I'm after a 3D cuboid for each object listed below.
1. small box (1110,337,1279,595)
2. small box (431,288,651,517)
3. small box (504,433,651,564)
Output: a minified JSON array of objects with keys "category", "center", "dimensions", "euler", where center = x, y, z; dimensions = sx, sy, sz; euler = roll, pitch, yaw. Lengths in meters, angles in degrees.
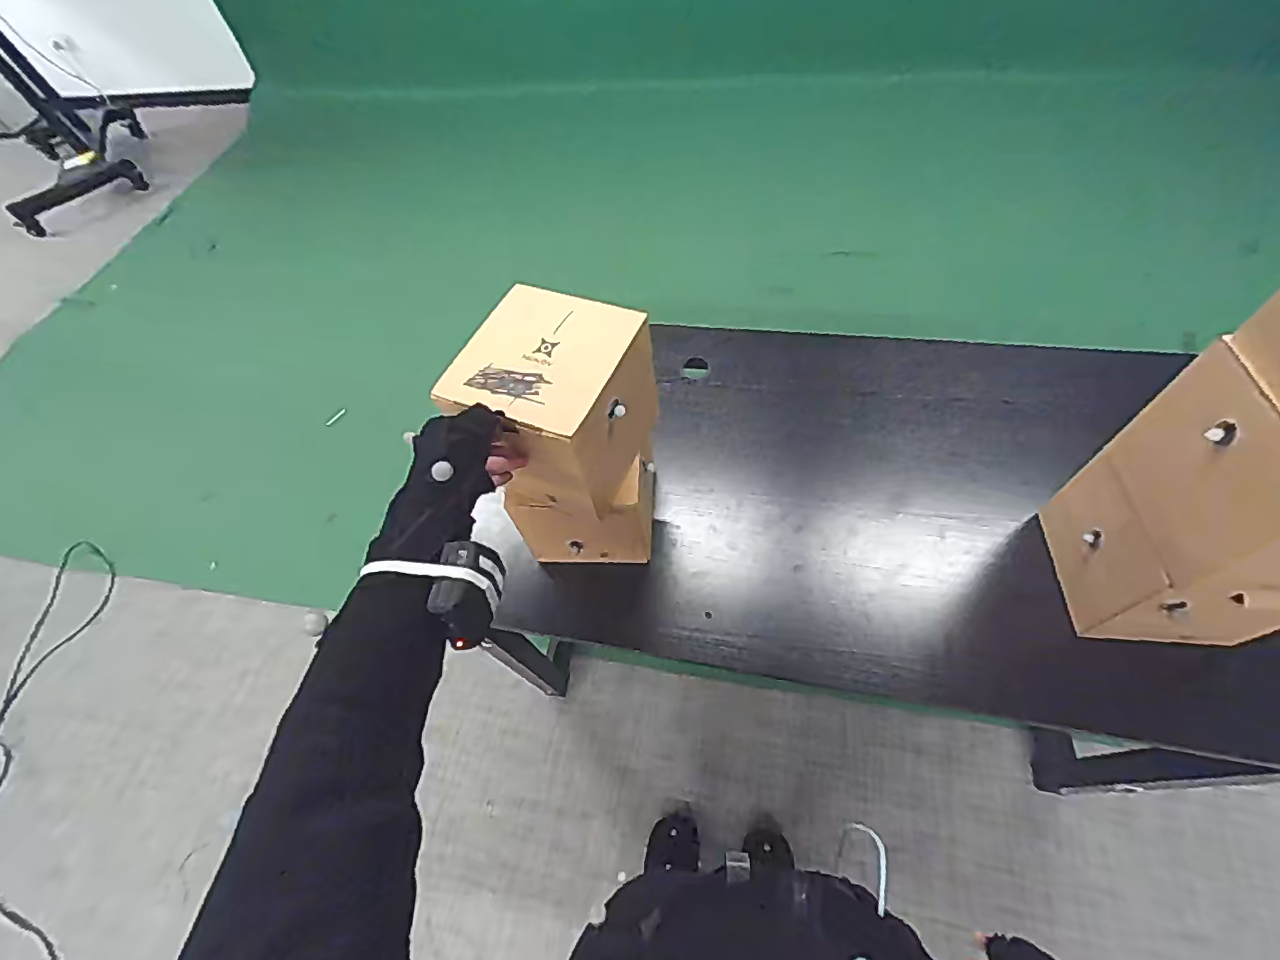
[{"category":"small box","center":[0.584,-0.009,0.486],"dimensions":[0.168,0.176,0.179],"euler":[-1,58,8]},{"category":"small box","center":[-0.094,-0.083,0.620],"dimensions":[0.168,0.176,0.179],"euler":[18,62,17]},{"category":"small box","center":[-0.074,0.003,0.759],"dimensions":[0.168,0.176,0.179],"euler":[-1,59,6]}]
